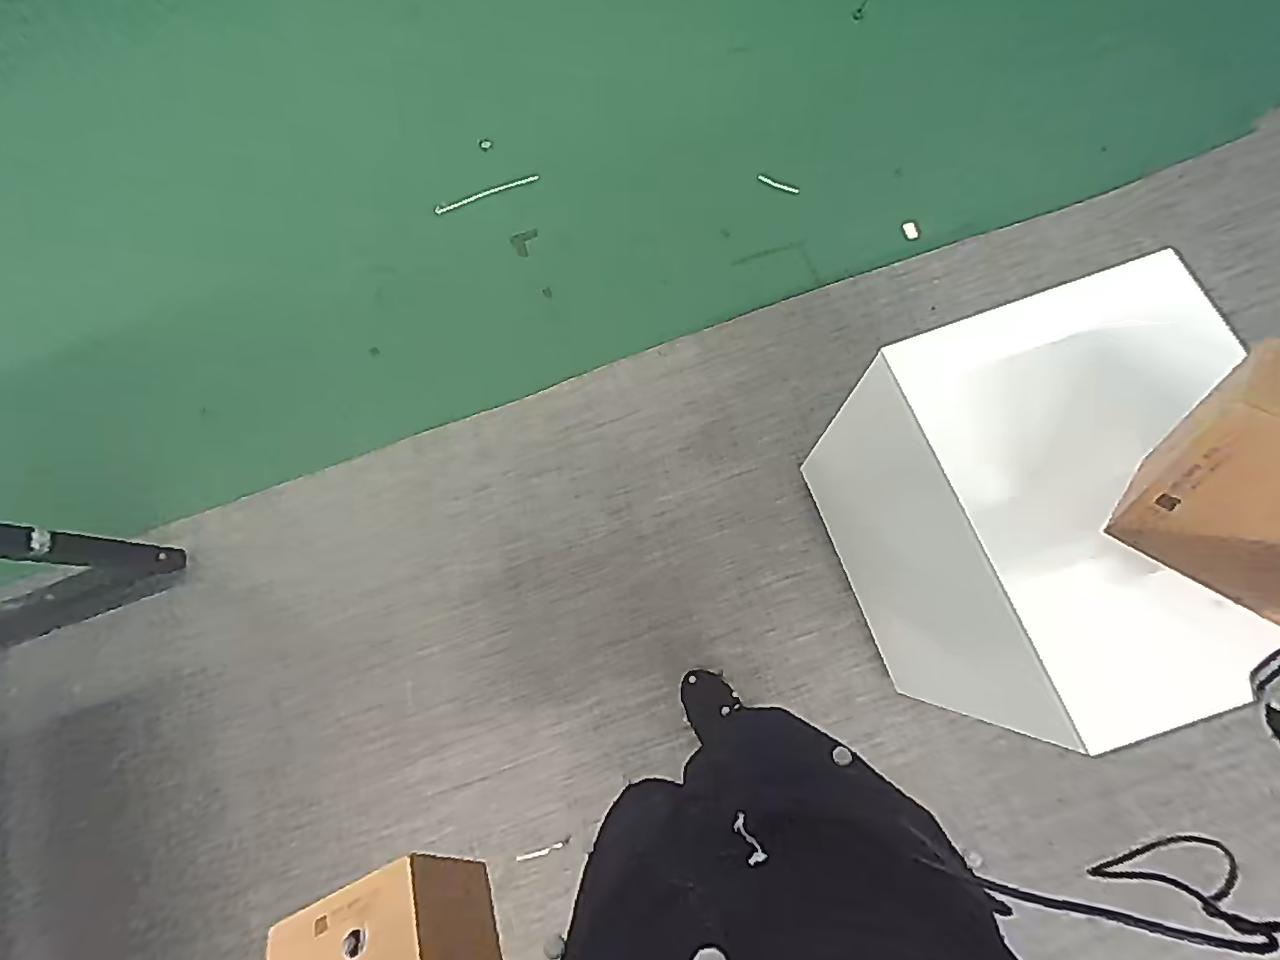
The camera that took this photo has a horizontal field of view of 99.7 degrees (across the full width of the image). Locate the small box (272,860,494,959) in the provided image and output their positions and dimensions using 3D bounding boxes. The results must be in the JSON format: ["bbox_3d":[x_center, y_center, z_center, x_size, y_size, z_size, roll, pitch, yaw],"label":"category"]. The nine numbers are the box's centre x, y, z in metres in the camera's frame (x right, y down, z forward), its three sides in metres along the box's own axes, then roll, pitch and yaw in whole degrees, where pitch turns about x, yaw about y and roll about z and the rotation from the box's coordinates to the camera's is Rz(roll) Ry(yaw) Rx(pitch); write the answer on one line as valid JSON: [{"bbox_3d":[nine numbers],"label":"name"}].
[{"bbox_3d":[-0.267,0.543,0.586,0.168,0.179,0.176,-26,49,-3],"label":"small box"}]
